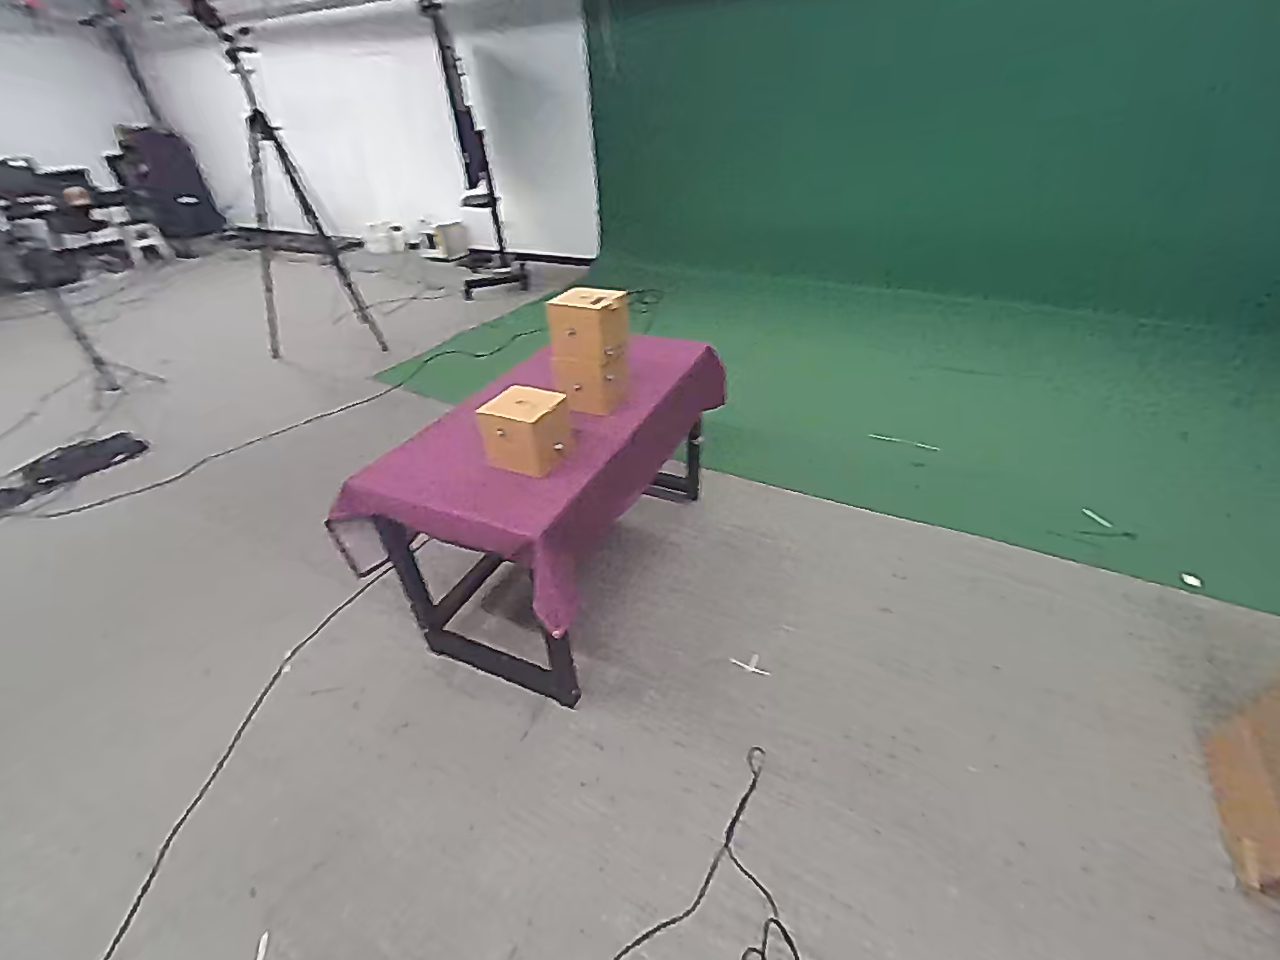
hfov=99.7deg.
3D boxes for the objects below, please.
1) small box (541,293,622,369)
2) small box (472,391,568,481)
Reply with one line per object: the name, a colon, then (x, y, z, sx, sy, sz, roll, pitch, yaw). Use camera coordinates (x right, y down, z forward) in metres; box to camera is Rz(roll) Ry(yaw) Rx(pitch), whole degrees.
small box: (-0.166, -0.443, 1.605, 0.179, 0.176, 0.168, 13, 38, 24)
small box: (-0.311, -0.117, 1.439, 0.179, 0.176, 0.168, 13, 39, 22)
